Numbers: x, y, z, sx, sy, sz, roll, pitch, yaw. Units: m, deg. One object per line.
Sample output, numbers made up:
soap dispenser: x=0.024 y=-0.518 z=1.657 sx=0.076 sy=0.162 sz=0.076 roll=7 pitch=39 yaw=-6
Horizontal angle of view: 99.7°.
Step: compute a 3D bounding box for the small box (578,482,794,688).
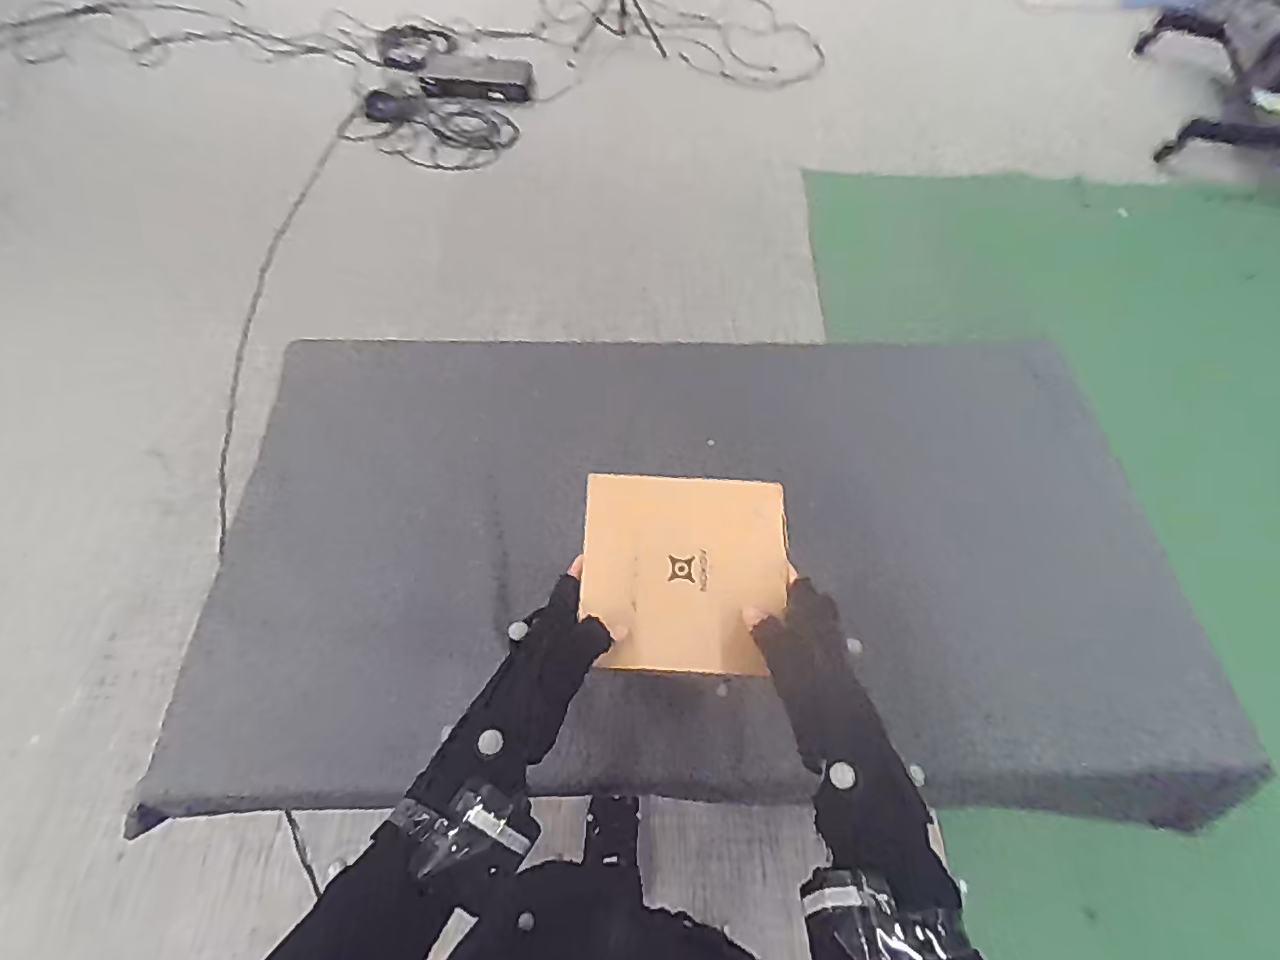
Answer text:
small box: x=0.038 y=0.112 z=0.533 sx=0.179 sy=0.176 sz=0.168 roll=2 pitch=66 yaw=0
